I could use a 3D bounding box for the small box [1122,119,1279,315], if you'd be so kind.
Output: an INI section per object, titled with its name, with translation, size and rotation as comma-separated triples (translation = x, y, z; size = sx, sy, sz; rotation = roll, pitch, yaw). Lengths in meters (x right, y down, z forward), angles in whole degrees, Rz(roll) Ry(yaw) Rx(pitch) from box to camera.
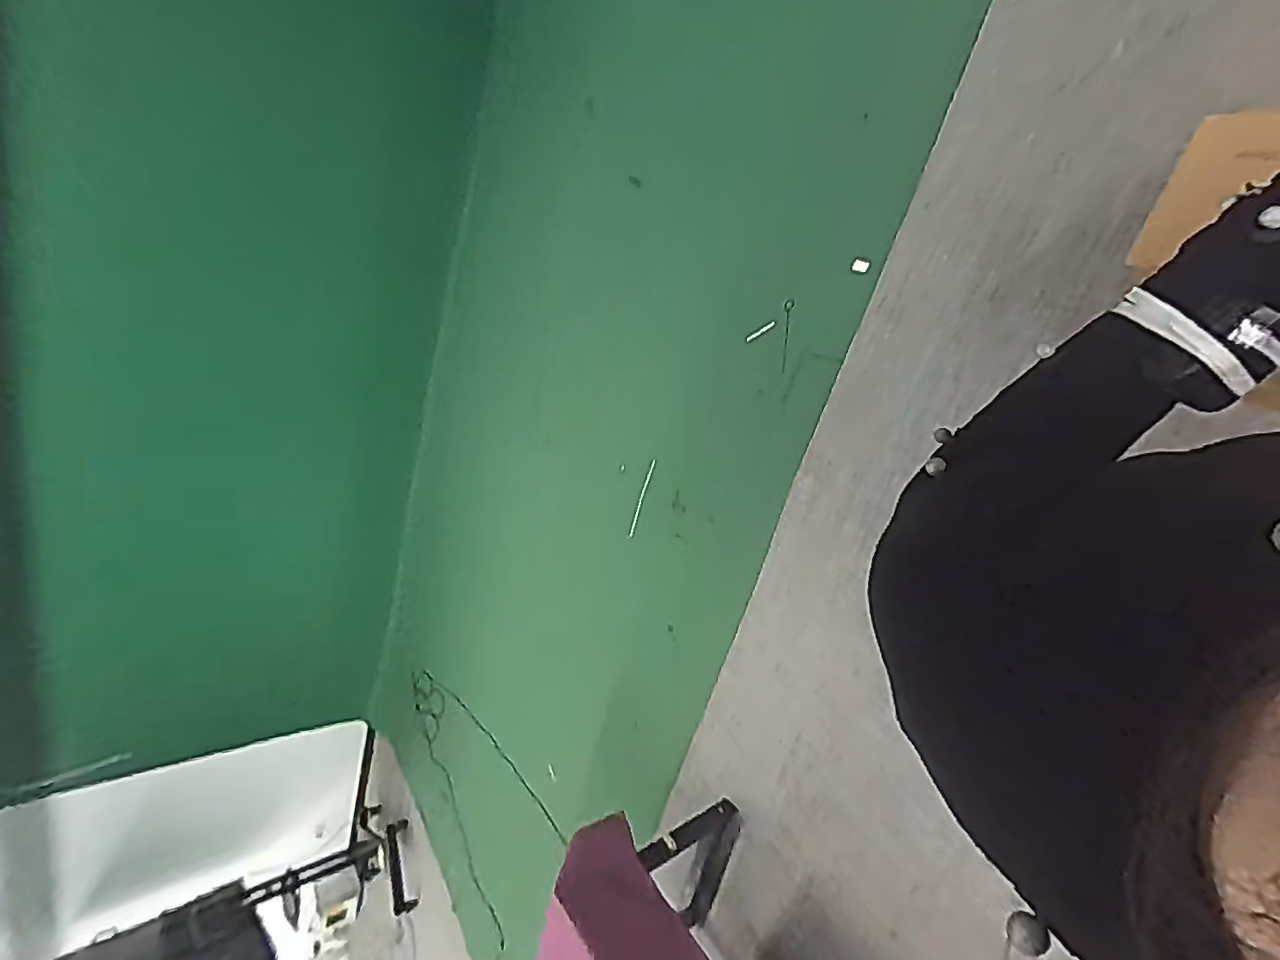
[small box]
translation = 0.760, -0.320, 0.675
size = 0.168, 0.176, 0.179
rotation = 35, 115, 41
